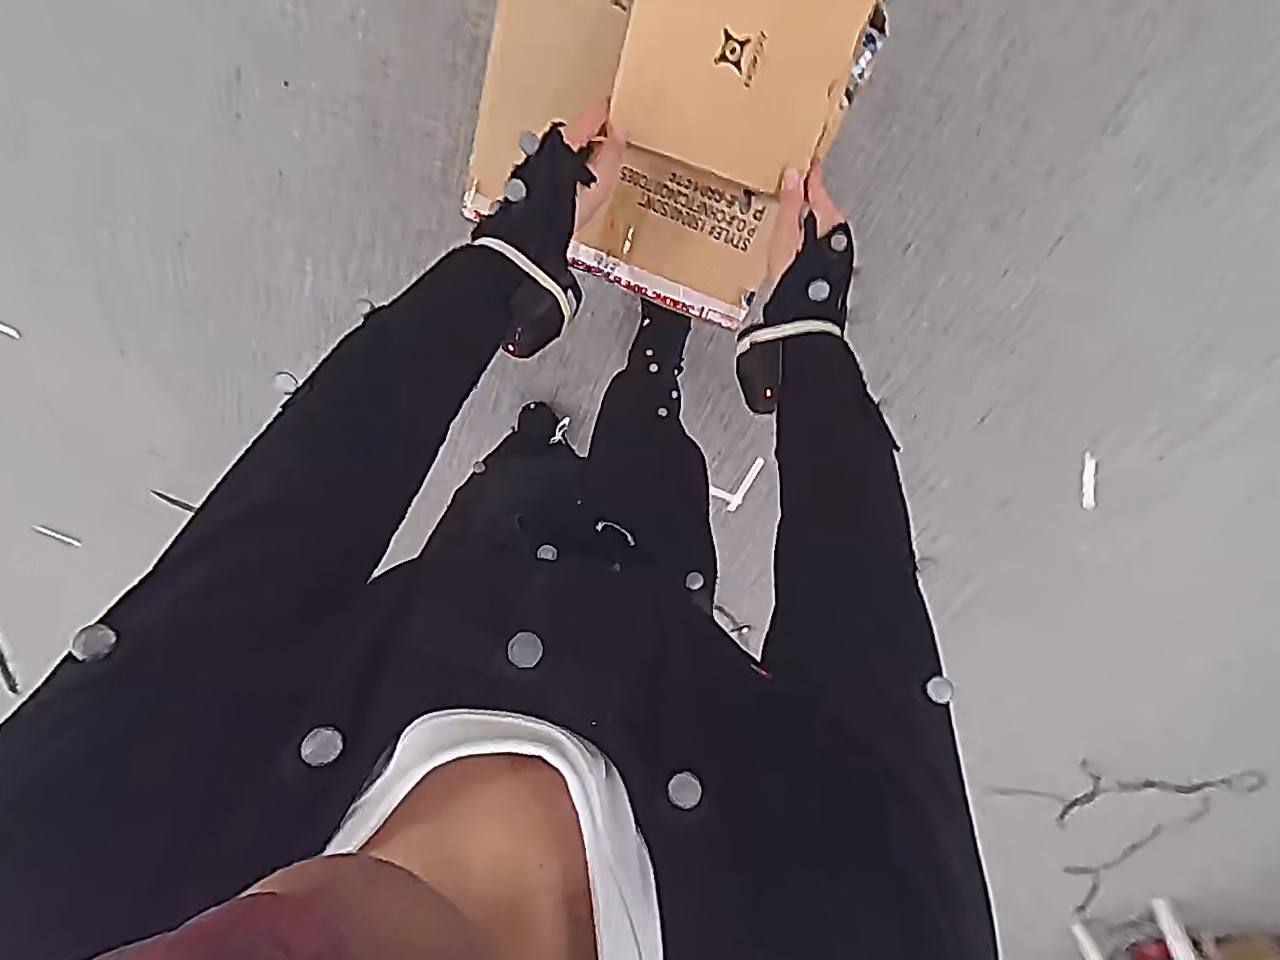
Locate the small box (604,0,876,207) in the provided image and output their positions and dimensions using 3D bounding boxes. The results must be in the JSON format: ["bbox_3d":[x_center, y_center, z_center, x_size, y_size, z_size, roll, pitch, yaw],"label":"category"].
[{"bbox_3d":[0.077,-0.364,0.500,0.179,0.176,0.168,16,116,-7],"label":"small box"}]
